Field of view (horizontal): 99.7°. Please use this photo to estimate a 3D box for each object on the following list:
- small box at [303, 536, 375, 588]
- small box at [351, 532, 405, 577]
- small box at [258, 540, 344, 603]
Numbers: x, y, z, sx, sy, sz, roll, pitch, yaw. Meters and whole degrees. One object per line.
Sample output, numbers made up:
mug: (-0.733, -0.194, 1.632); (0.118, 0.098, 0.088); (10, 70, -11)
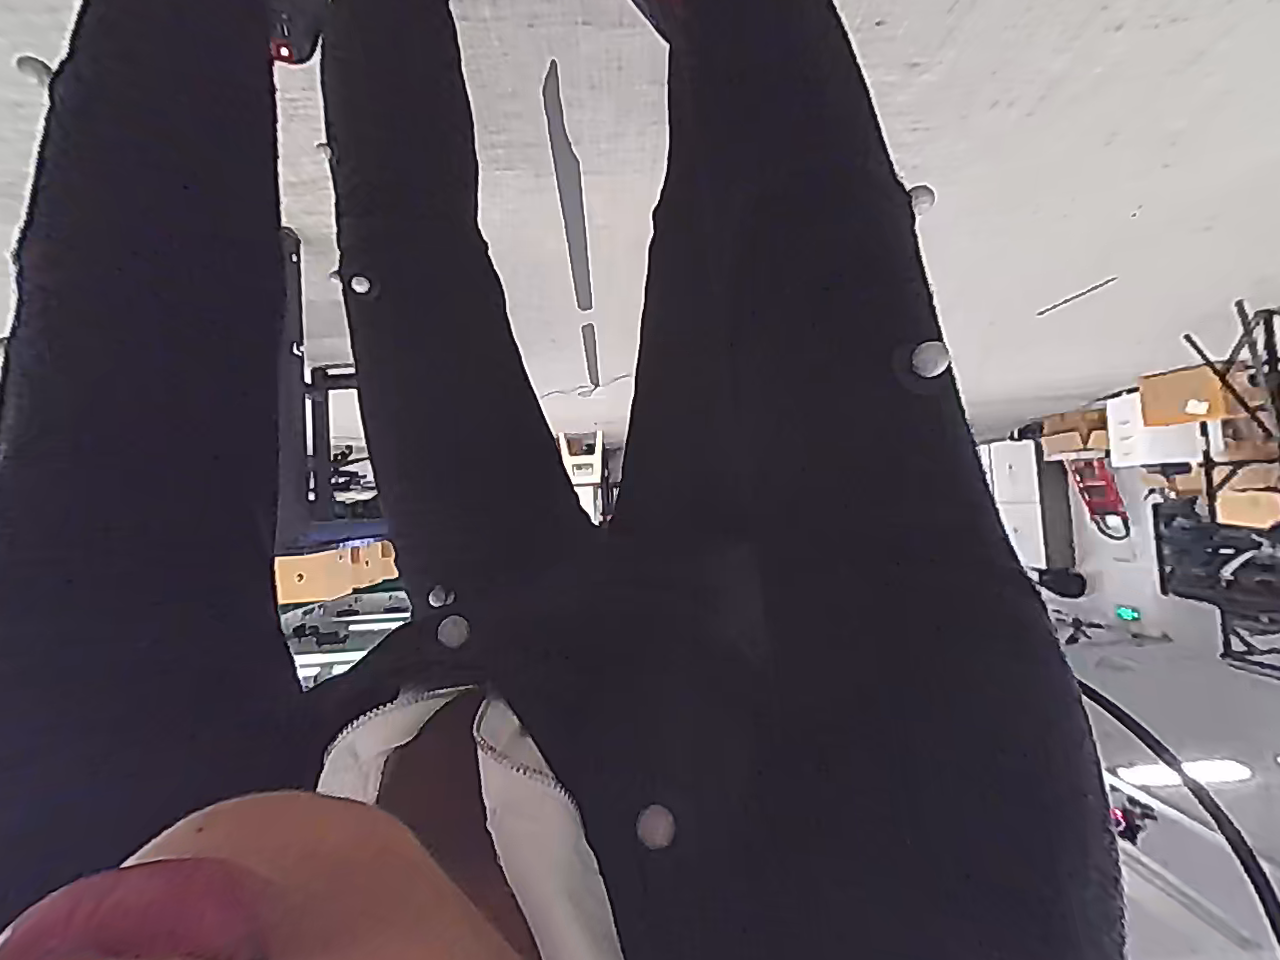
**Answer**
small box: (-1.051, 0.283, 1.891); (0.179, 0.176, 0.168); (-2, 177, -3)
small box: (-1.057, 0.298, 2.153); (0.168, 0.176, 0.179); (-3, 177, -1)
small box: (-1.024, 0.272, 1.643); (0.179, 0.176, 0.168); (-4, 177, -7)
